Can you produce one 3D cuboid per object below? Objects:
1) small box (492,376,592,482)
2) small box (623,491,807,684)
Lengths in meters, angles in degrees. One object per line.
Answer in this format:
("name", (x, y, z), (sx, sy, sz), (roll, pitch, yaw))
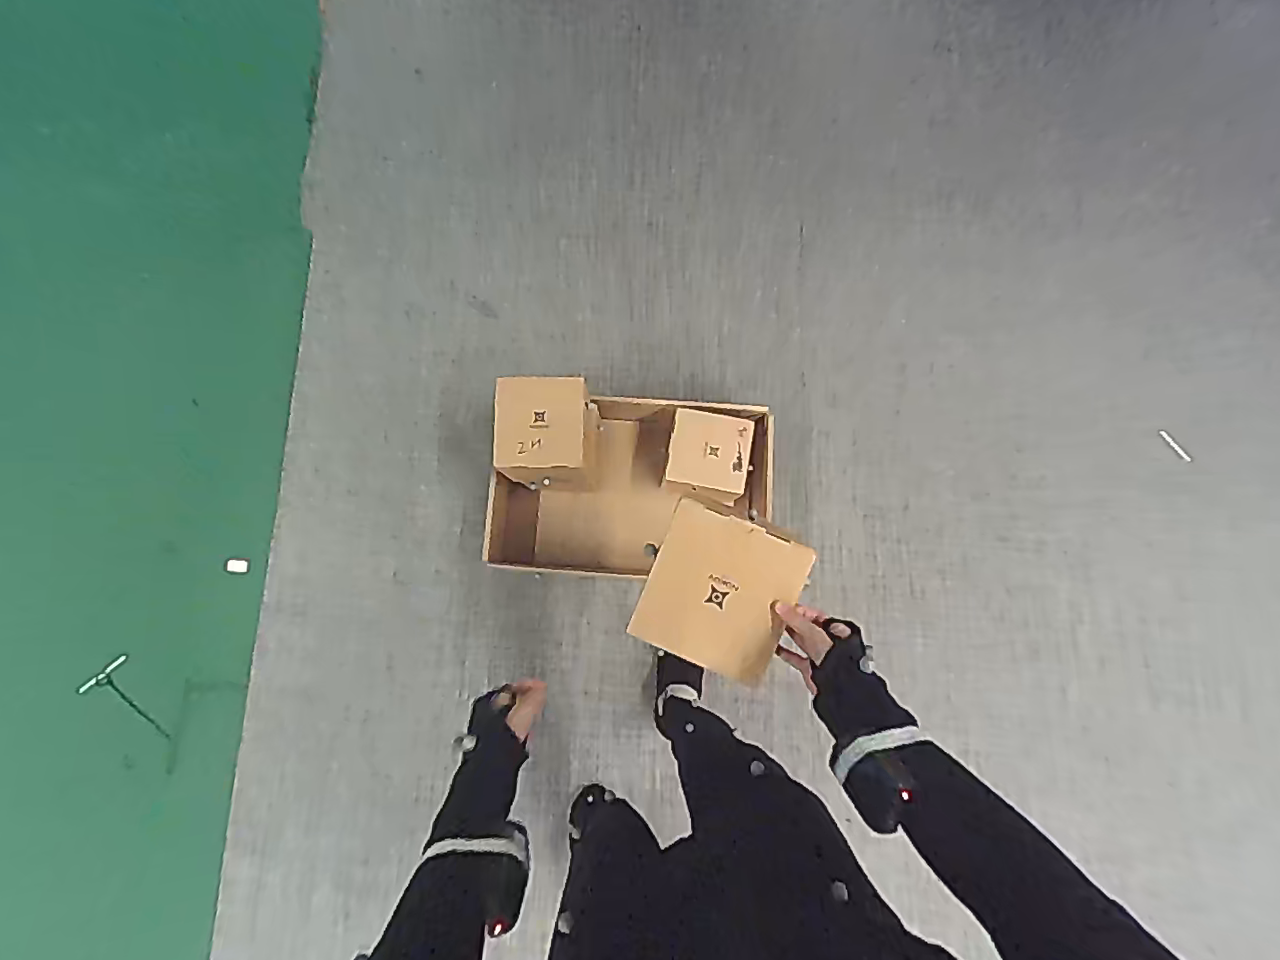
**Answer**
("small box", (-0.188, -0.096, 1.078), (0.168, 0.176, 0.179), (1, 82, 1))
("small box", (0.096, 0.124, 0.700), (0.168, 0.176, 0.179), (22, 93, 7))
